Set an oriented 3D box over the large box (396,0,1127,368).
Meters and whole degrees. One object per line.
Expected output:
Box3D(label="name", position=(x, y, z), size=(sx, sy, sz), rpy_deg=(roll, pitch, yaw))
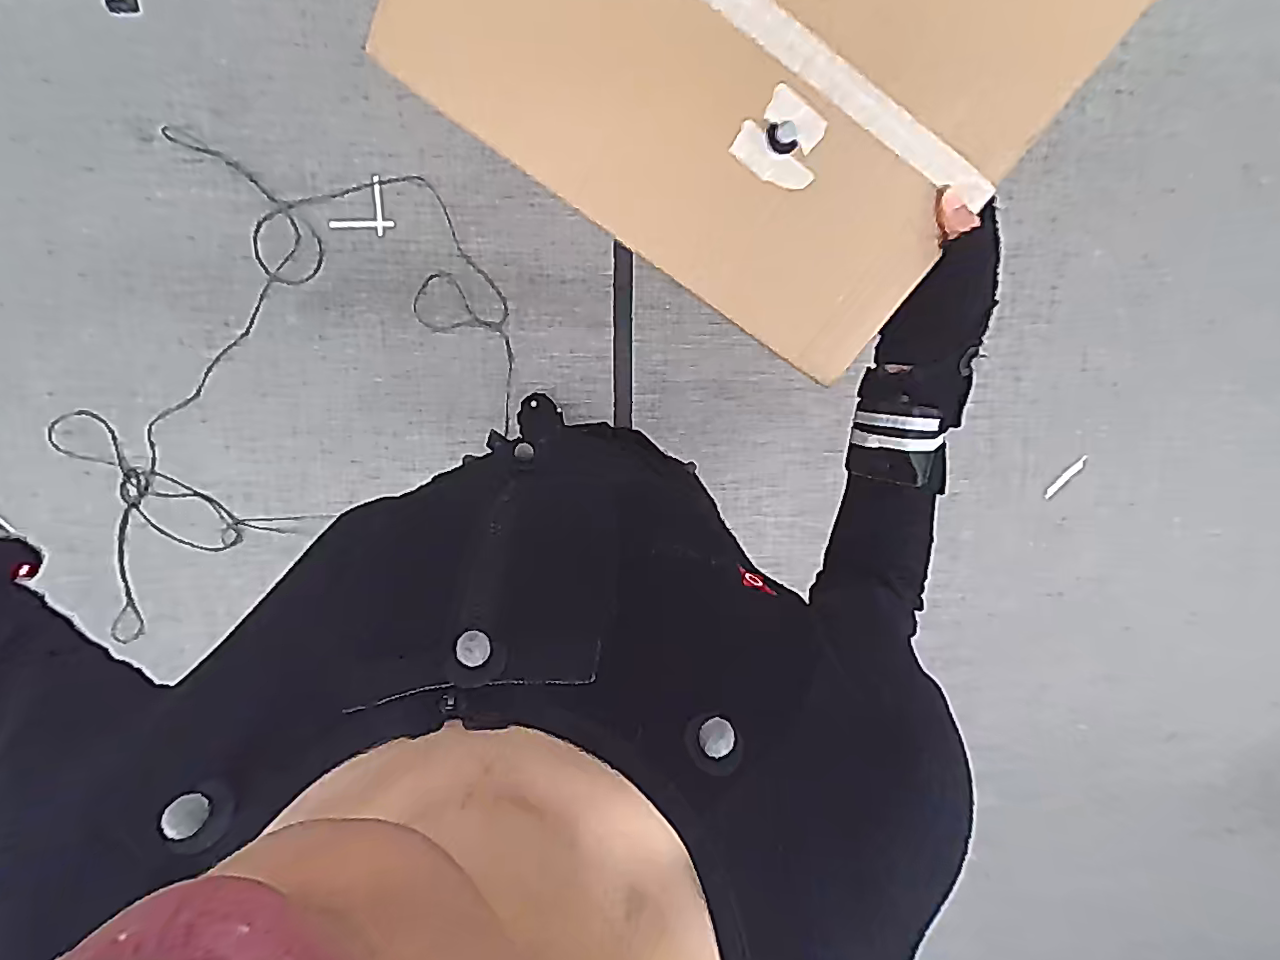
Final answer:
Box3D(label="large box", position=(0.081, -0.361, 0.493), size=(0.408, 0.320, 0.320), rpy_deg=(32, 112, -8))
